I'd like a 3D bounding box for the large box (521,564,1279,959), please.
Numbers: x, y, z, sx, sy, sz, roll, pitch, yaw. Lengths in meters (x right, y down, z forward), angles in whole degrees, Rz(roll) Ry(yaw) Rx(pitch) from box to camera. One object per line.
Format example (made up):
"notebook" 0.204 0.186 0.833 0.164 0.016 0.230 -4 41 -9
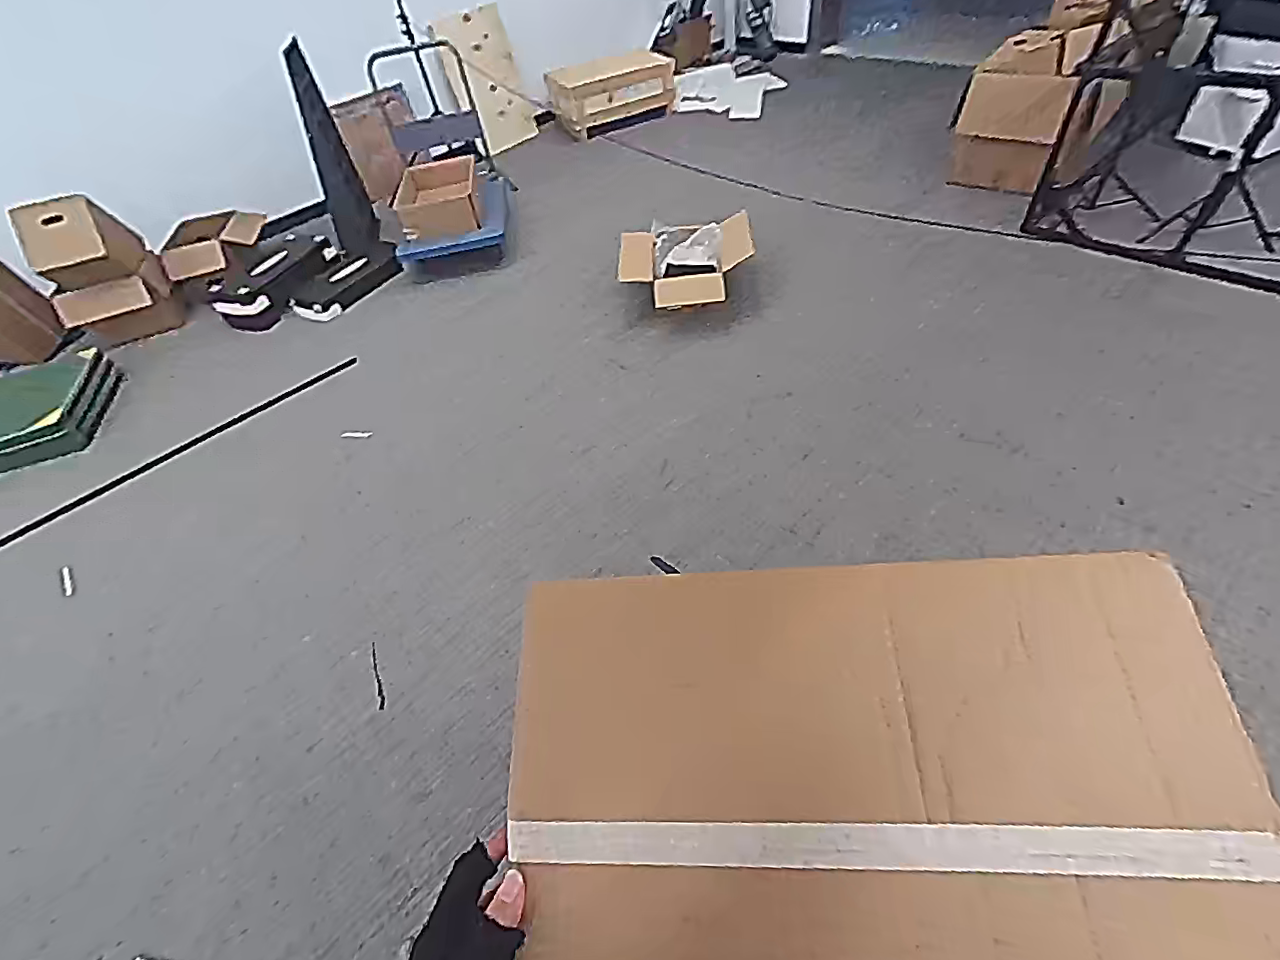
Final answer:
"large box" 0.148 0.270 0.442 0.408 0.320 0.320 -5 67 9
